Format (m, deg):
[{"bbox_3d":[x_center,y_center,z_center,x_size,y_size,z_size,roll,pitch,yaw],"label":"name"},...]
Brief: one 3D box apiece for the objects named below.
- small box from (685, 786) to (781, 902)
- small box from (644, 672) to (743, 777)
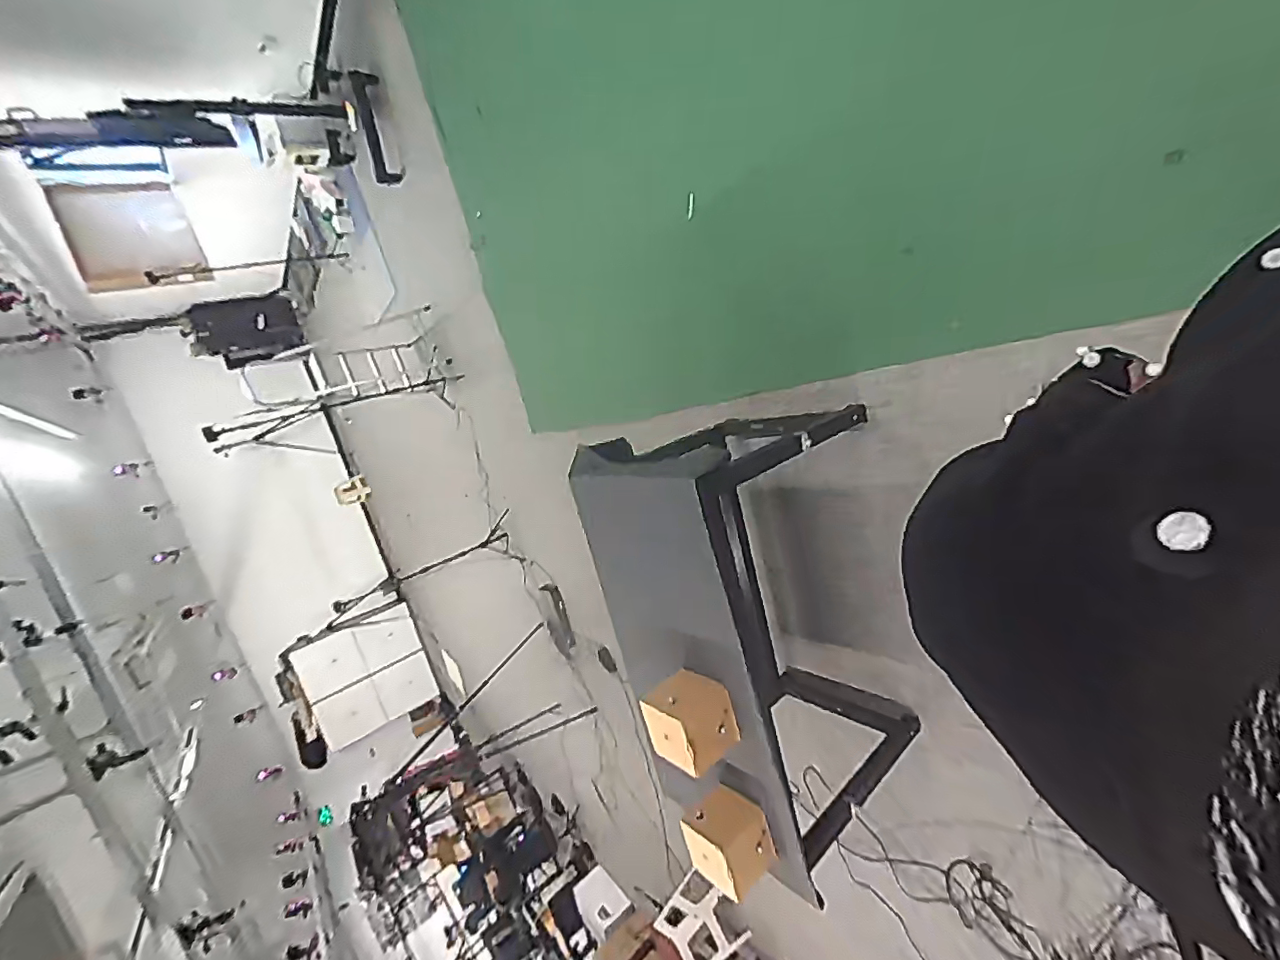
[{"bbox_3d":[0.257,0.990,1.493,0.179,0.176,0.168,-4,107,54],"label":"small box"},{"bbox_3d":[0.144,0.637,1.439,0.179,0.176,0.168,-3,107,54],"label":"small box"}]
